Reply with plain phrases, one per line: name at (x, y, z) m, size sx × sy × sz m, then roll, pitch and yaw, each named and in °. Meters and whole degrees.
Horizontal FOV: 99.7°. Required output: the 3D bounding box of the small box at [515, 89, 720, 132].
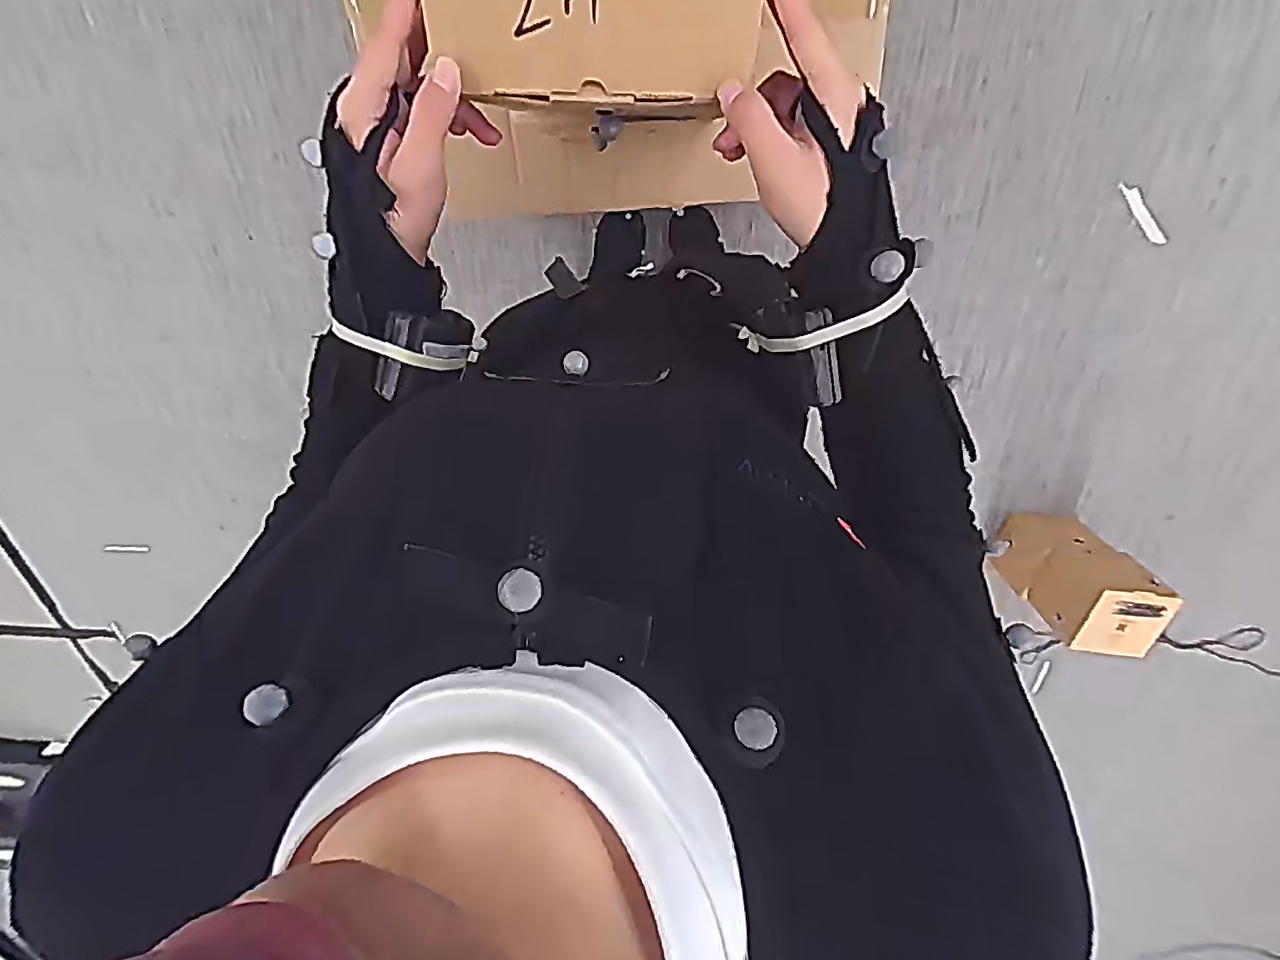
small box at (-0.010, -0.399, 0.451) m, size 0.168 × 0.176 × 0.179 m, roll 1°, pitch 118°, yaw 4°

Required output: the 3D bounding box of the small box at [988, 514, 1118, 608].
small box at (1.052, 0.203, 1.394) m, size 0.179 × 0.176 × 0.168 m, roll 7°, pitch 117°, yaw 2°

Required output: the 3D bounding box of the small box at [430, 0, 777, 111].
small box at (-0.012, -0.316, 0.292) m, size 0.168 × 0.176 × 0.179 m, roll 4°, pitch 121°, yaw 1°
